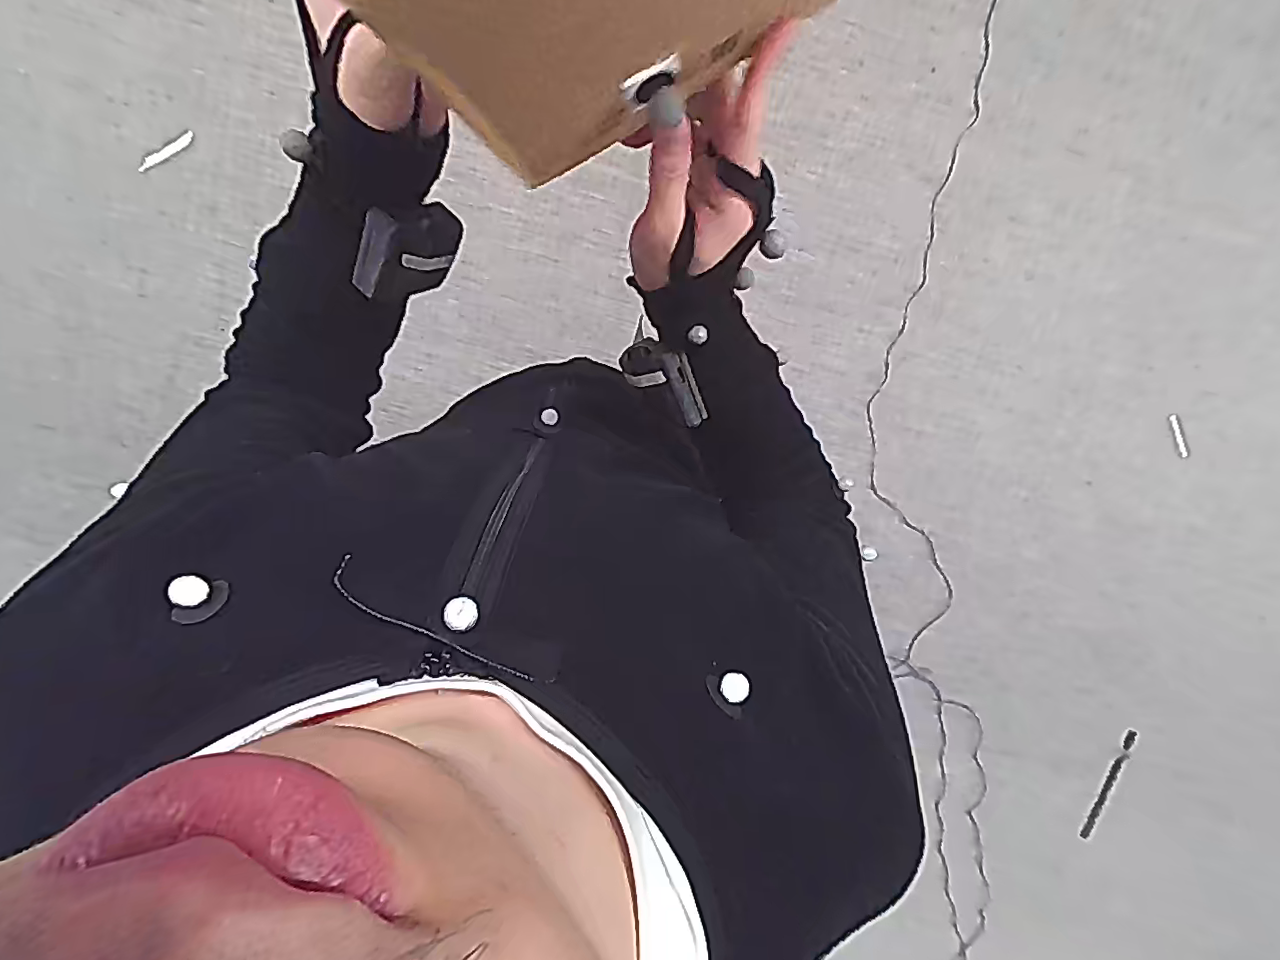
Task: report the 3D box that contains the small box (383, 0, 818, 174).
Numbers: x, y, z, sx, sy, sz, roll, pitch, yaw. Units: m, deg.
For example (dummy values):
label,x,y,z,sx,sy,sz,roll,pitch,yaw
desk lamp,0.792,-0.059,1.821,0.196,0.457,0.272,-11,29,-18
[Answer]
label,x,y,z,sx,sy,sz,roll,pitch,yaw
small box,-0.027,-0.242,0.176,0.168,0.176,0.179,-29,101,13
